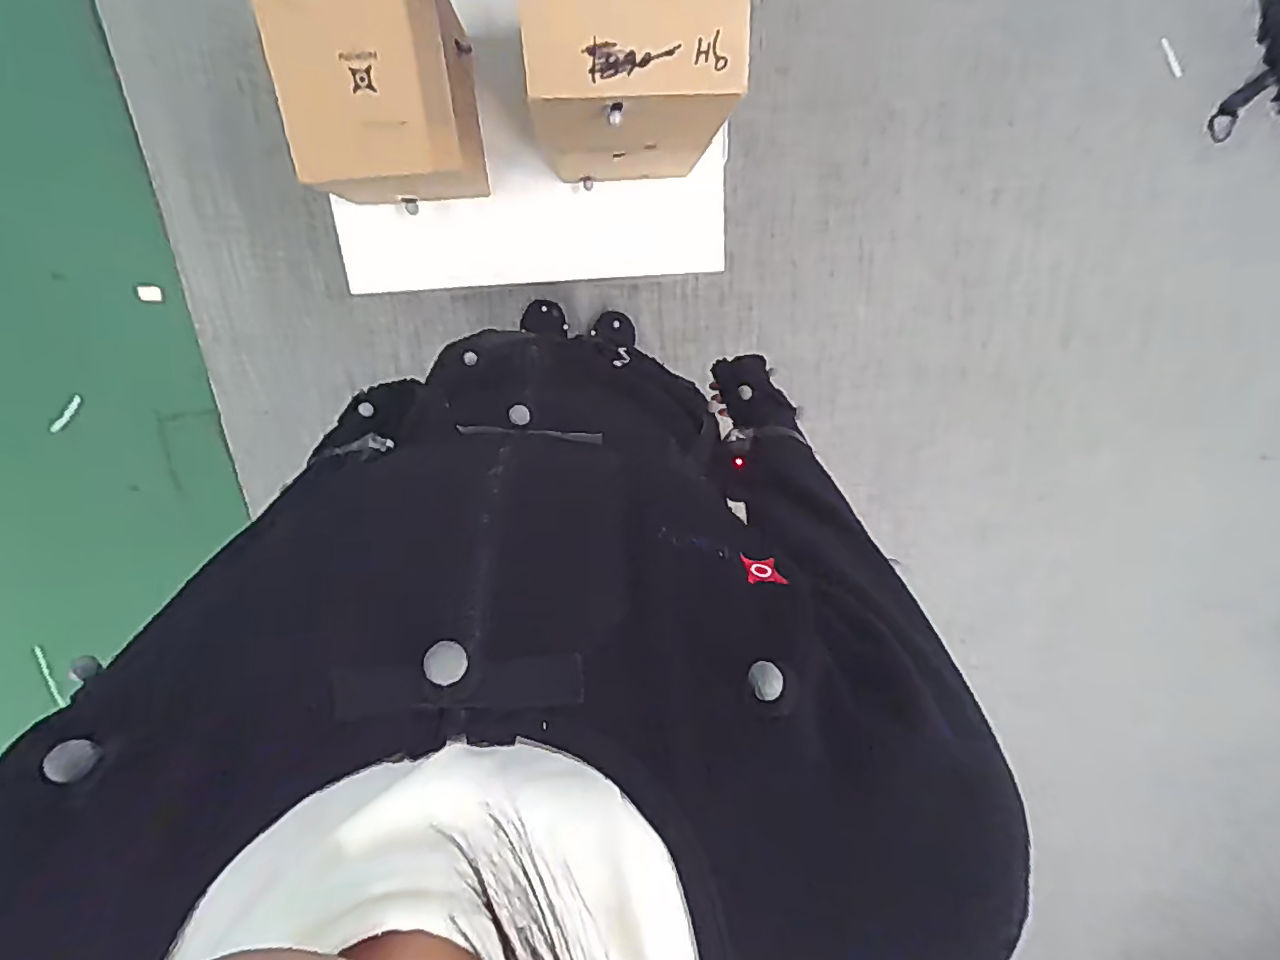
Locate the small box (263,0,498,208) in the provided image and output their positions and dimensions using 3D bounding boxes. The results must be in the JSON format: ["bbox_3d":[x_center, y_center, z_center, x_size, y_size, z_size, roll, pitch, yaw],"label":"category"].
[{"bbox_3d":[-0.265,-0.414,0.597,0.168,0.176,0.179,-7,111,-1],"label":"small box"}]

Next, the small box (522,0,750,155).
[{"bbox_3d":[-0.009,-0.391,0.448,0.168,0.176,0.179,-4,109,-2],"label":"small box"}]
